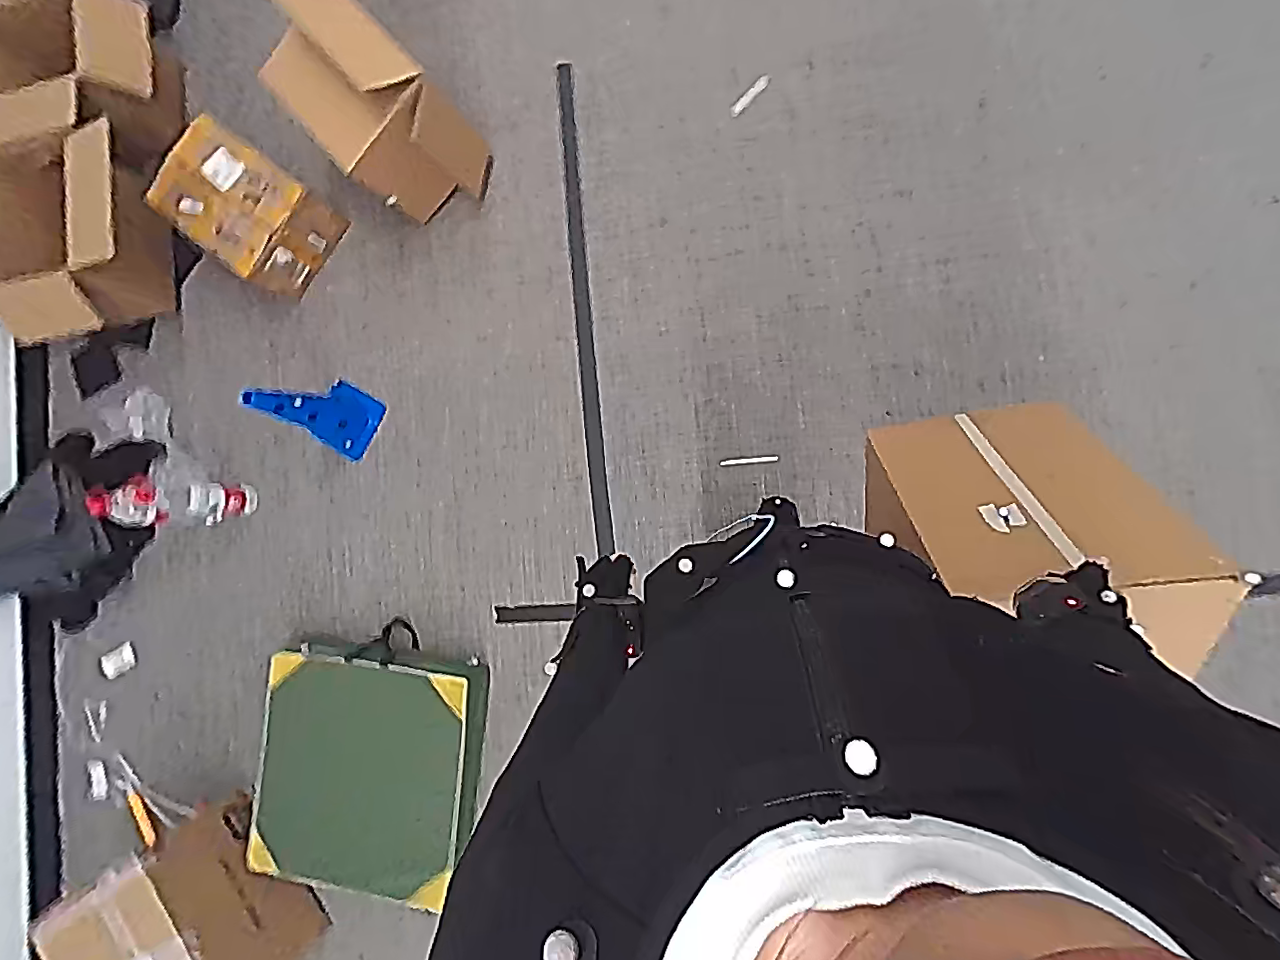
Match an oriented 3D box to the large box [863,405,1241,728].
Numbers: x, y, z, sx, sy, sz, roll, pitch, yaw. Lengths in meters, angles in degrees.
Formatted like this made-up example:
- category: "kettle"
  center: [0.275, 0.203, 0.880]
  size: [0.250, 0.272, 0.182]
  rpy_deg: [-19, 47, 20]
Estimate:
- category: "large box"
  center: [0.573, 0.130, 0.877]
  size: [0.320, 0.408, 0.320]
  rpy_deg: [-9, 127, 12]
